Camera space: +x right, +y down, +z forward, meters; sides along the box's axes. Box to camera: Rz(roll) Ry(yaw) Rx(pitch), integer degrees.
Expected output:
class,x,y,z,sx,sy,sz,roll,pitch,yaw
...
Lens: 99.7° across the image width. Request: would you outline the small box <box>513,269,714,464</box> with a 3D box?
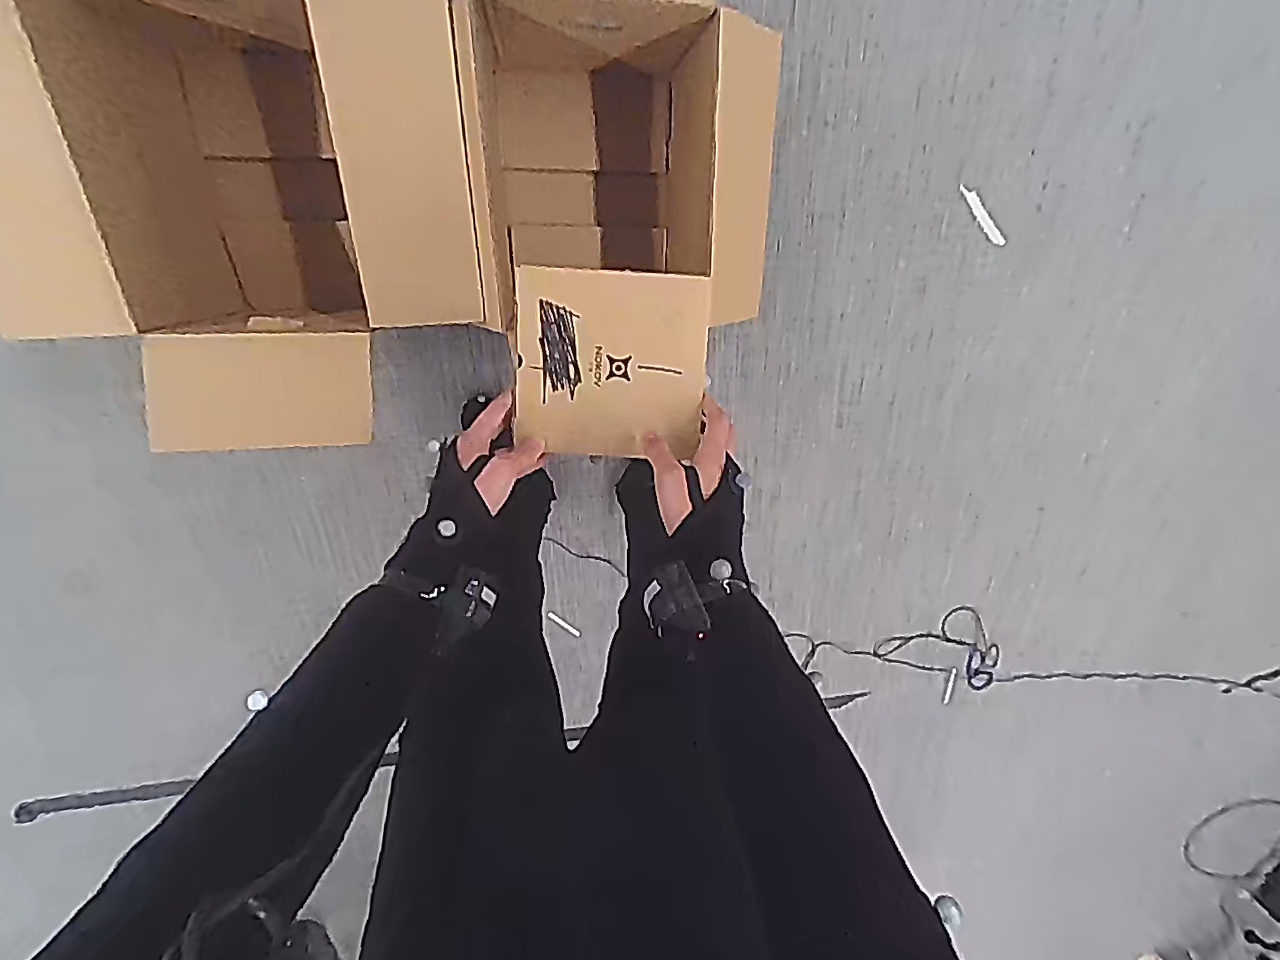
class,x,y,z,sx,sy,sz,roll,pitch,yaw
small box,-0.025,-0.113,0.568,0.179,0.176,0.168,4,100,0
